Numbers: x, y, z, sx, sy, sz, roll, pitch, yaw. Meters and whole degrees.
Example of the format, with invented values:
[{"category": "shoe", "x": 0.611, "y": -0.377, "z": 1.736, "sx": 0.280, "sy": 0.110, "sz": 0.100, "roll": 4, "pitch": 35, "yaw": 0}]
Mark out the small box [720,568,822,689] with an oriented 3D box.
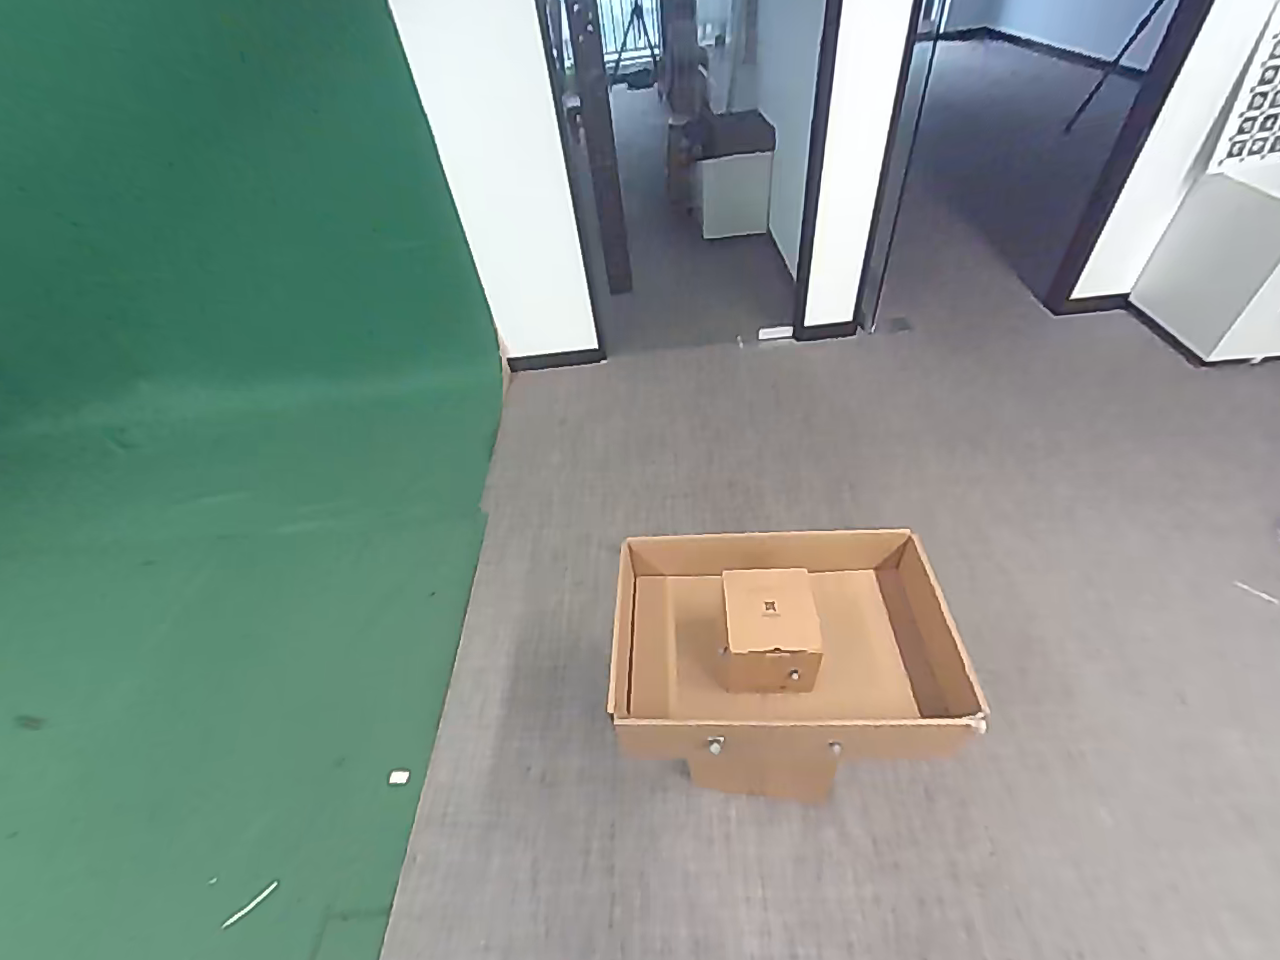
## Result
[{"category": "small box", "x": 0.246, "y": 0.295, "z": 1.058, "sx": 0.168, "sy": 0.176, "sz": 0.179, "roll": -2, "pitch": 43, "yaw": 4}]
